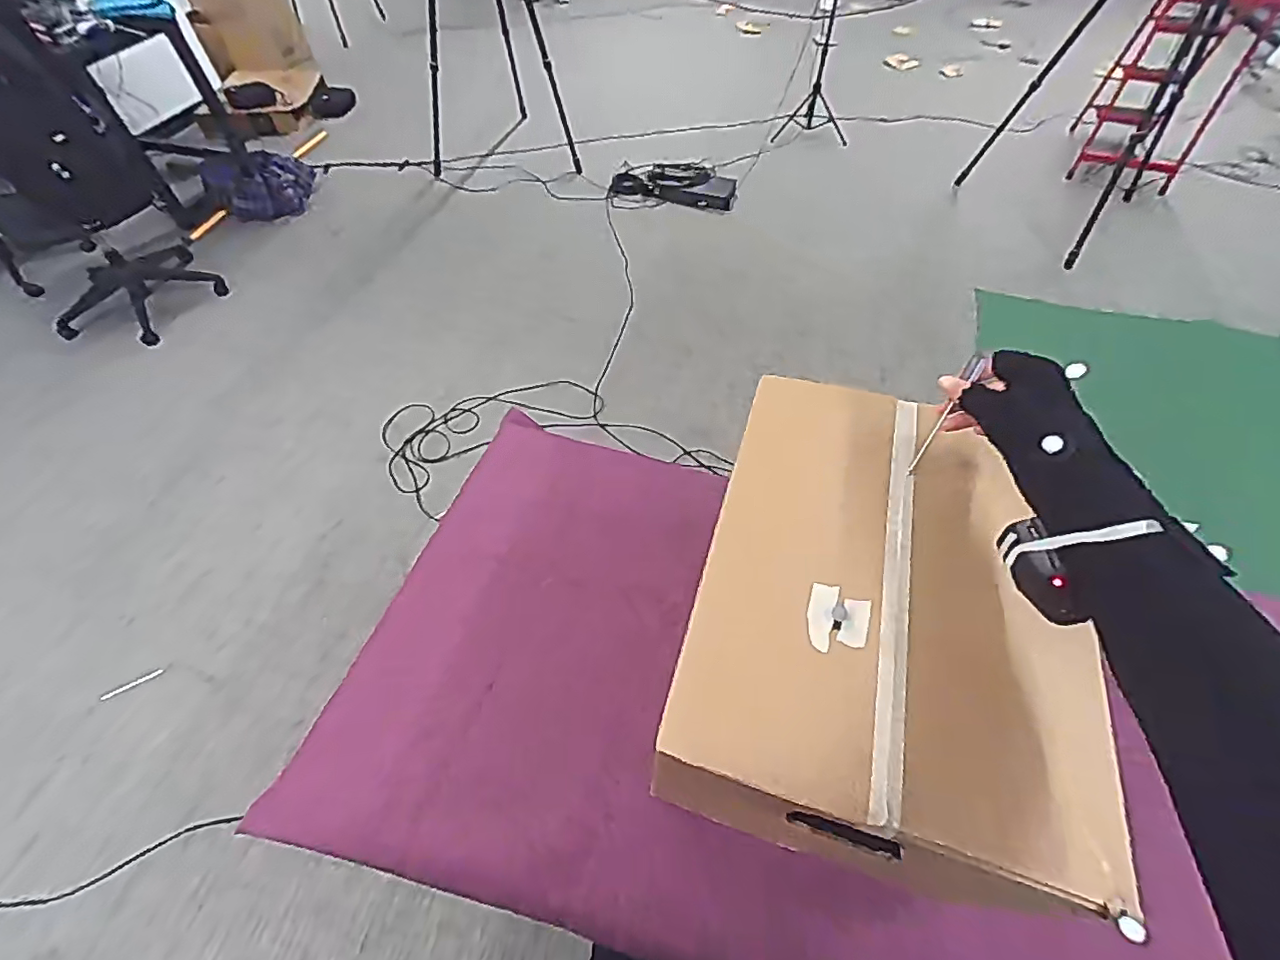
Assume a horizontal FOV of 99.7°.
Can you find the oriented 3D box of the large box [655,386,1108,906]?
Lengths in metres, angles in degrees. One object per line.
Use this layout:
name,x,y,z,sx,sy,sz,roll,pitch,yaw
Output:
large box,0.221,0.168,0.607,0.320,0.320,0.408,15,57,11
